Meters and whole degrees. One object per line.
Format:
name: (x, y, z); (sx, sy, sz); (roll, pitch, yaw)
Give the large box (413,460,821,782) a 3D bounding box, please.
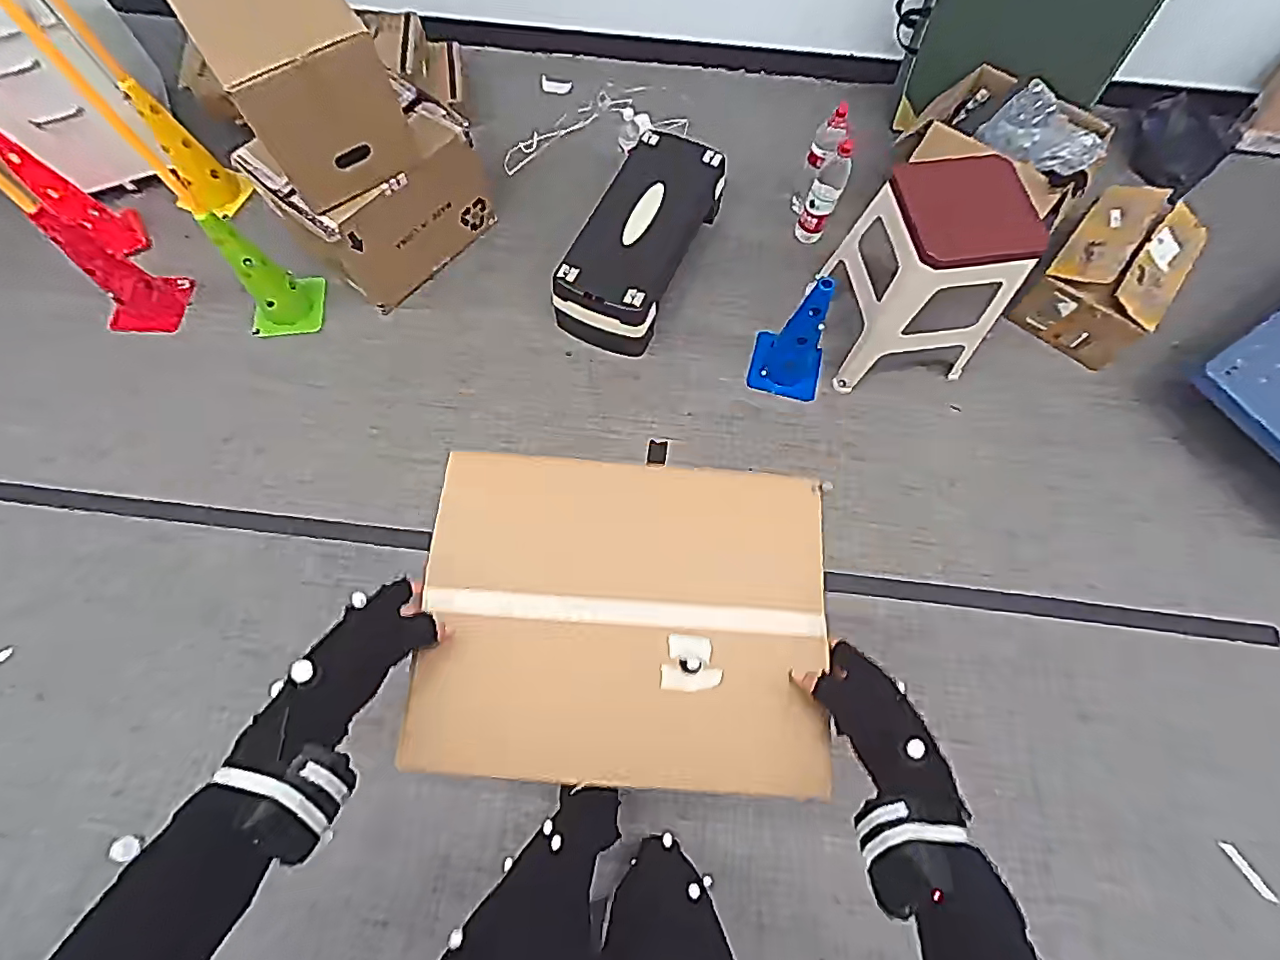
large box: (-0.021, 0.180, 0.706); (0.408, 0.320, 0.320); (5, 73, -1)
